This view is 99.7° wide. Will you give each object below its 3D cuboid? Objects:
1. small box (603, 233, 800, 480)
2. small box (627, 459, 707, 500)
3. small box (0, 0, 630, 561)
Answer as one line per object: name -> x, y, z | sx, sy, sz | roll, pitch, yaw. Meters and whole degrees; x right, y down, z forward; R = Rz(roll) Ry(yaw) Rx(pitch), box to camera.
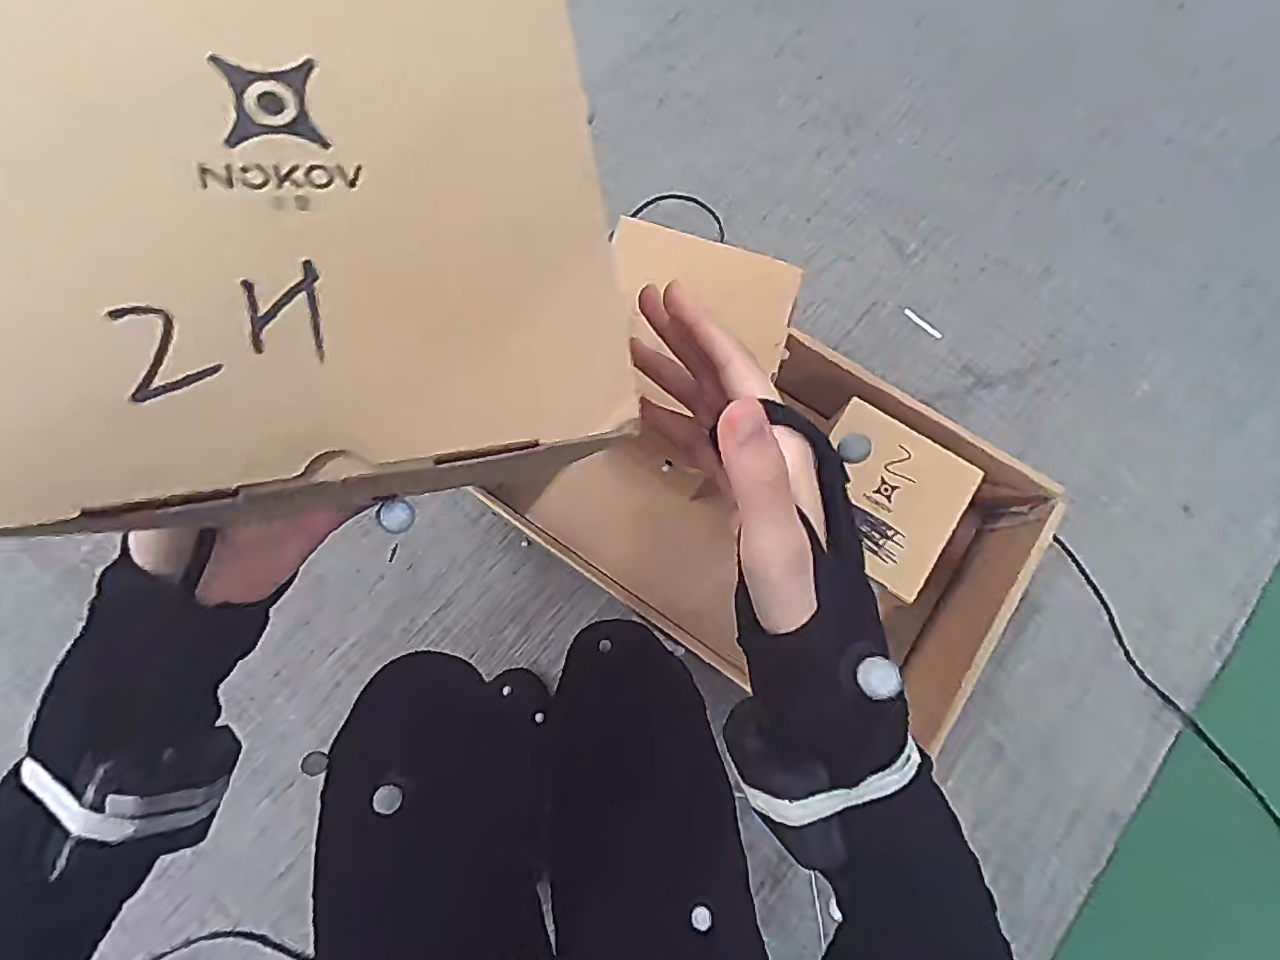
small box -> 0.036, -0.108, 0.549 | 0.179, 0.176, 0.168 | 18, 78, 5
small box -> 0.042, -0.090, 0.712 | 0.179, 0.176, 0.168 | 35, 81, 7
small box -> -0.116, -0.072, 0.218 | 0.168, 0.176, 0.179 | -9, 90, -17
